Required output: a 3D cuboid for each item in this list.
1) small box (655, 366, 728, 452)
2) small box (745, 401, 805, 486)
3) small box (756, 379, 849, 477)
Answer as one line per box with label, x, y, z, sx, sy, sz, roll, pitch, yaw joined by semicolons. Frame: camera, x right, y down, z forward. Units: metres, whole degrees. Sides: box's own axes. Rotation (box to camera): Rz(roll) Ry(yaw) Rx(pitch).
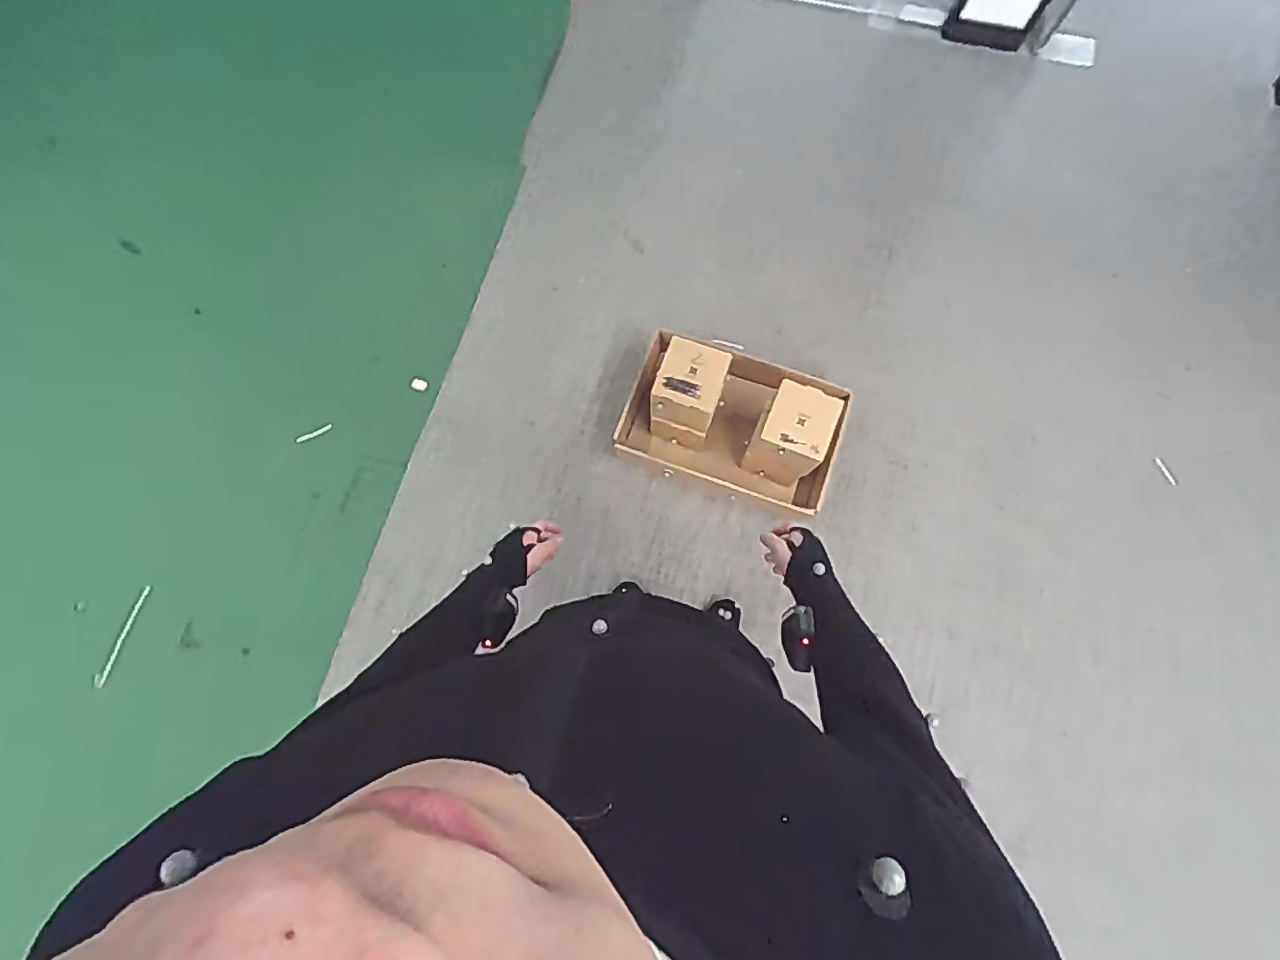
small box;0.148;-0.206;1.615;0.168;0.176;0.179;20;78;6
small box;0.418;-0.100;1.584;0.168;0.176;0.179;21;80;7
small box;0.417;-0.130;1.422;0.168;0.176;0.179;23;79;7
